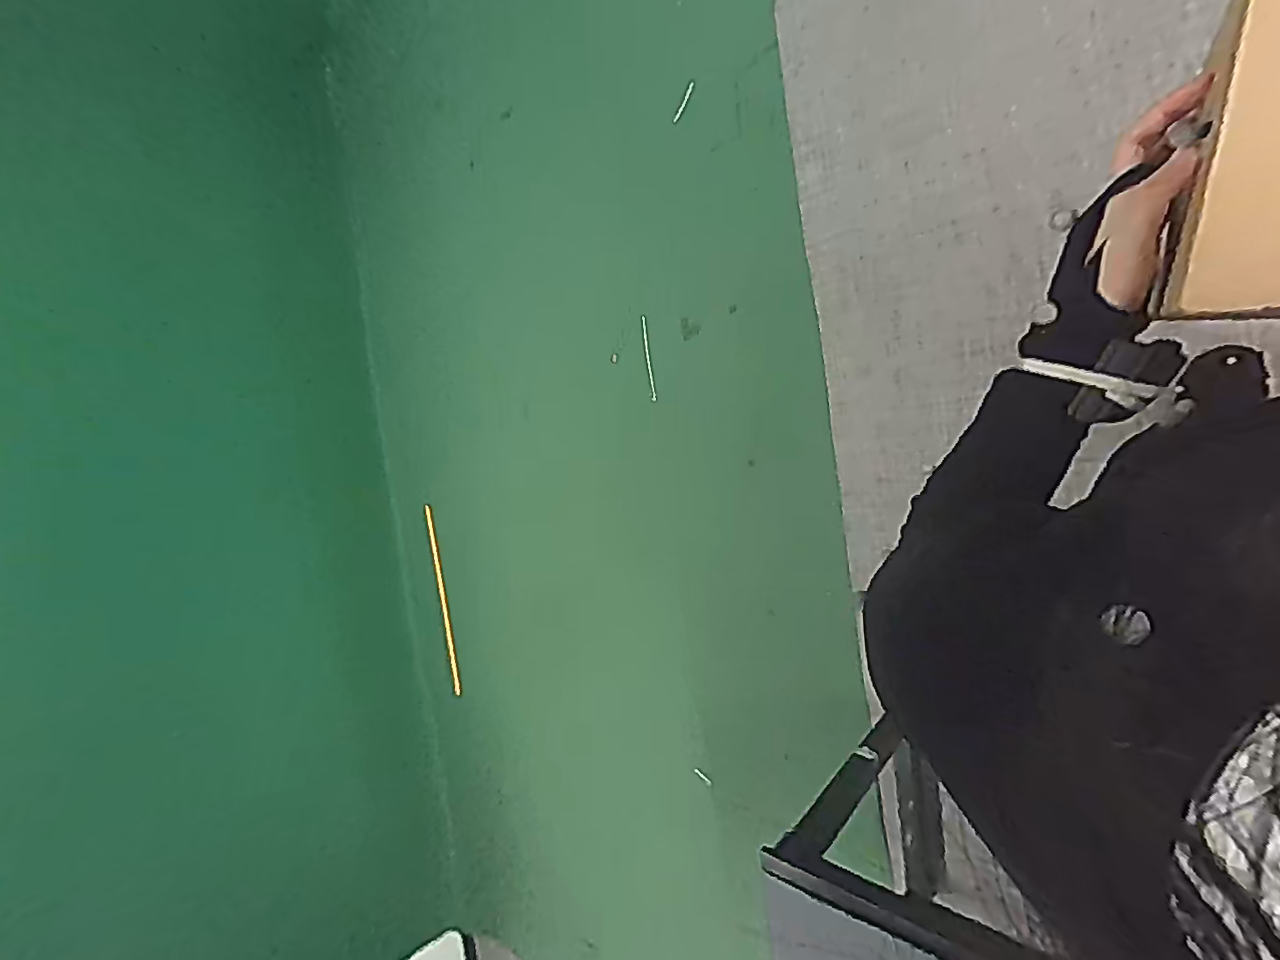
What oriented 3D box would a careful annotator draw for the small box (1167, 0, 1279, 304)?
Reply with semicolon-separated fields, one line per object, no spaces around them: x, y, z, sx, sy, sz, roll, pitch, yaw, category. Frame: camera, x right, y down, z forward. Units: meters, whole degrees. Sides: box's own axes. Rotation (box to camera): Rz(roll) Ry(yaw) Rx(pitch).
0.394;-0.185;0.265;0.168;0.176;0.179;12;109;37;small box
